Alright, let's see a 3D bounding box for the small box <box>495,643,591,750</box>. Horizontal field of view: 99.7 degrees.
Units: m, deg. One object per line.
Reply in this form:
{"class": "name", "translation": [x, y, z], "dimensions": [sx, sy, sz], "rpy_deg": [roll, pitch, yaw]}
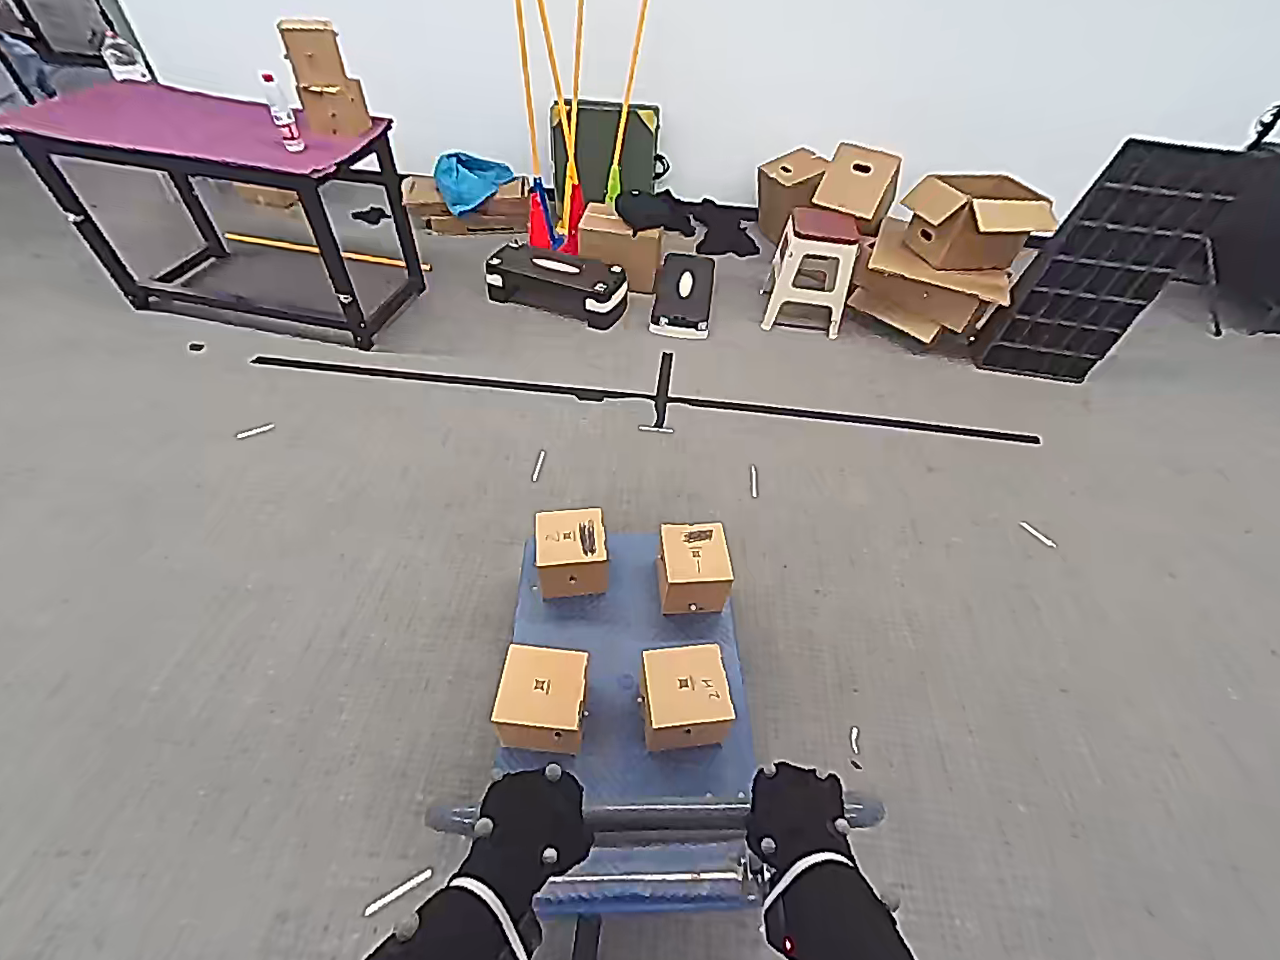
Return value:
{"class": "small box", "translation": [-0.206, 0.482, 1.197], "dimensions": [0.179, 0.176, 0.168], "rpy_deg": [7, 48, -1]}

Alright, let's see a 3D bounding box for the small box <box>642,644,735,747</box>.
{"class": "small box", "translation": [0.099, 0.487, 1.217], "dimensions": [0.179, 0.176, 0.168], "rpy_deg": [-3, 49, -7]}

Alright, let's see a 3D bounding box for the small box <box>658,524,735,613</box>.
{"class": "small box", "translation": [0.142, 0.236, 1.440], "dimensions": [0.168, 0.176, 0.179], "rpy_deg": [-1, 50, -6]}
